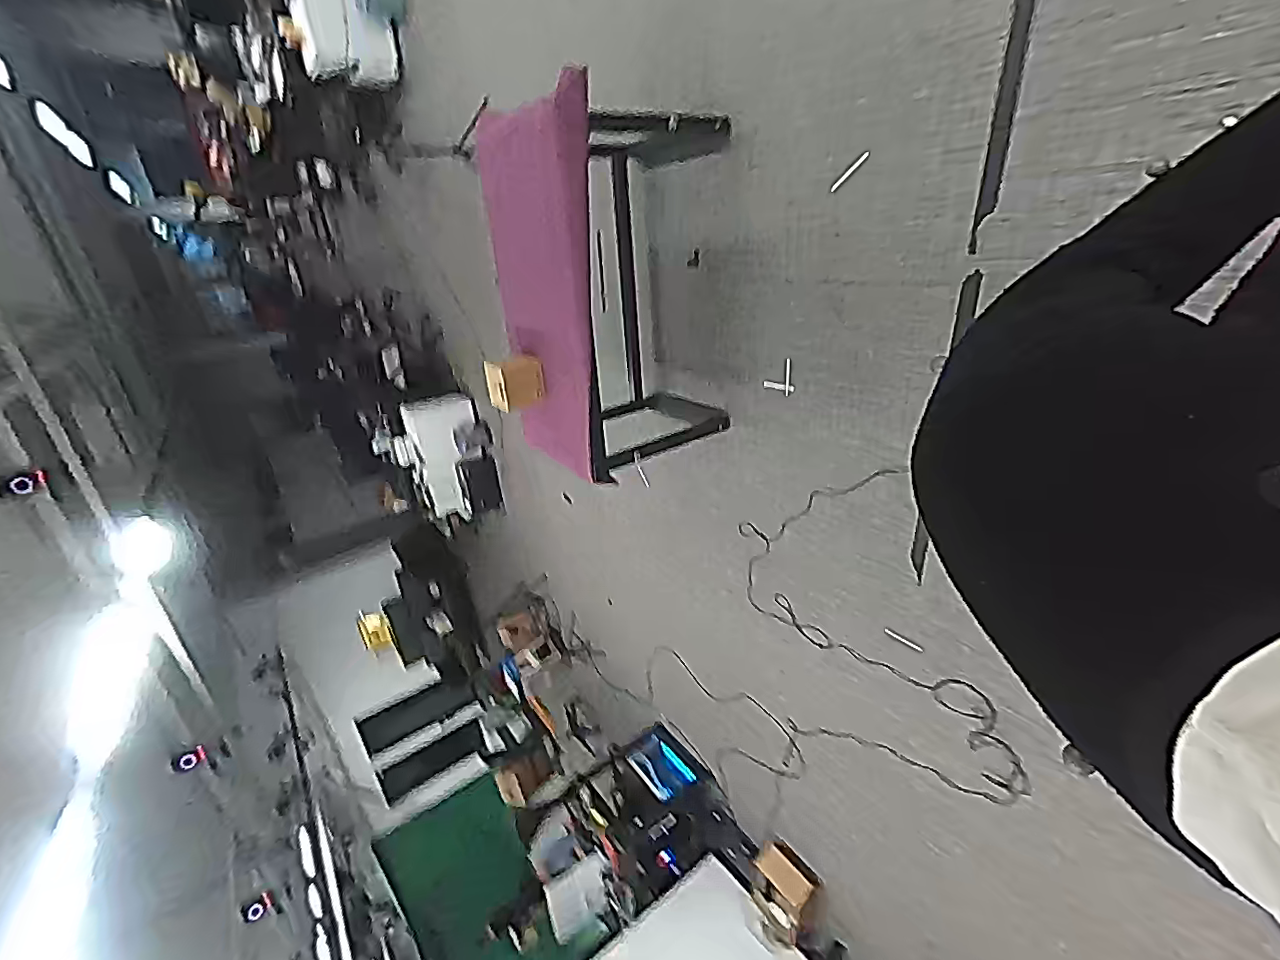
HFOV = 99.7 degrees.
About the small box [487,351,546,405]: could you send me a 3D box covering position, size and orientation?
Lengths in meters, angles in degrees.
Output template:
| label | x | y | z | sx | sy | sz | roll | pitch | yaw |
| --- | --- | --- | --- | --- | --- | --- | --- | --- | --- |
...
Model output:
| label | x | y | z | sx | sy | sz | roll | pitch | yaw |
| --- | --- | --- | --- | --- | --- | --- | --- | --- | --- |
| small box | -0.487 | -0.413 | 2.157 | 0.179 | 0.176 | 0.168 | 27 | 129 | 48 |
